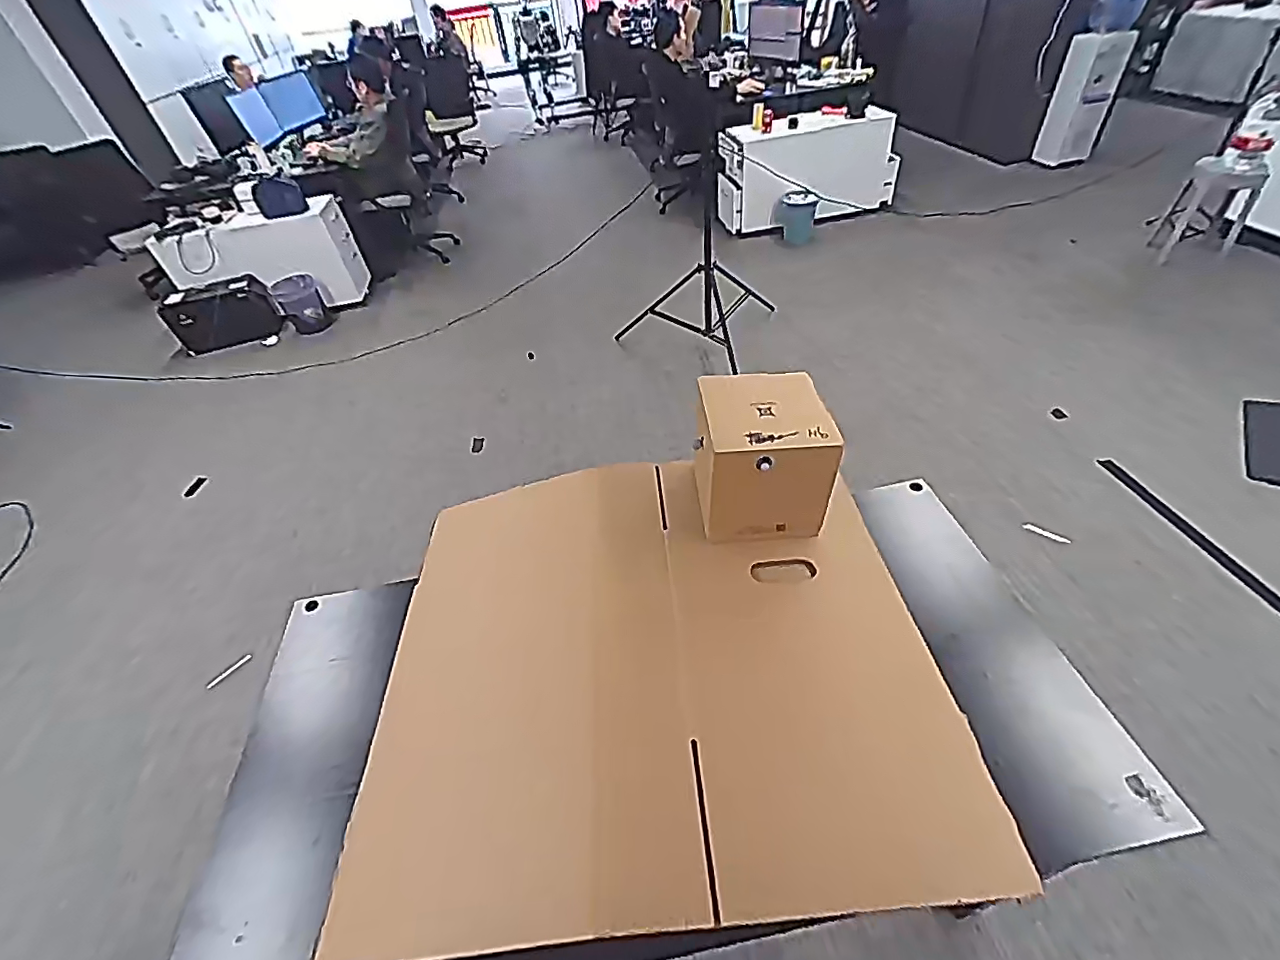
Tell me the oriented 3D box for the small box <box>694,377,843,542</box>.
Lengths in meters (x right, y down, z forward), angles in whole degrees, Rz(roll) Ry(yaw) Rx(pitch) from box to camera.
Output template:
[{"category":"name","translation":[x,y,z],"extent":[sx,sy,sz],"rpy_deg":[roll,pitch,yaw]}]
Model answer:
[{"category":"small box","translation":[0.170,-0.031,0.782],"extent":[0.168,0.176,0.179],"rpy_deg":[-3,41,-1]}]
